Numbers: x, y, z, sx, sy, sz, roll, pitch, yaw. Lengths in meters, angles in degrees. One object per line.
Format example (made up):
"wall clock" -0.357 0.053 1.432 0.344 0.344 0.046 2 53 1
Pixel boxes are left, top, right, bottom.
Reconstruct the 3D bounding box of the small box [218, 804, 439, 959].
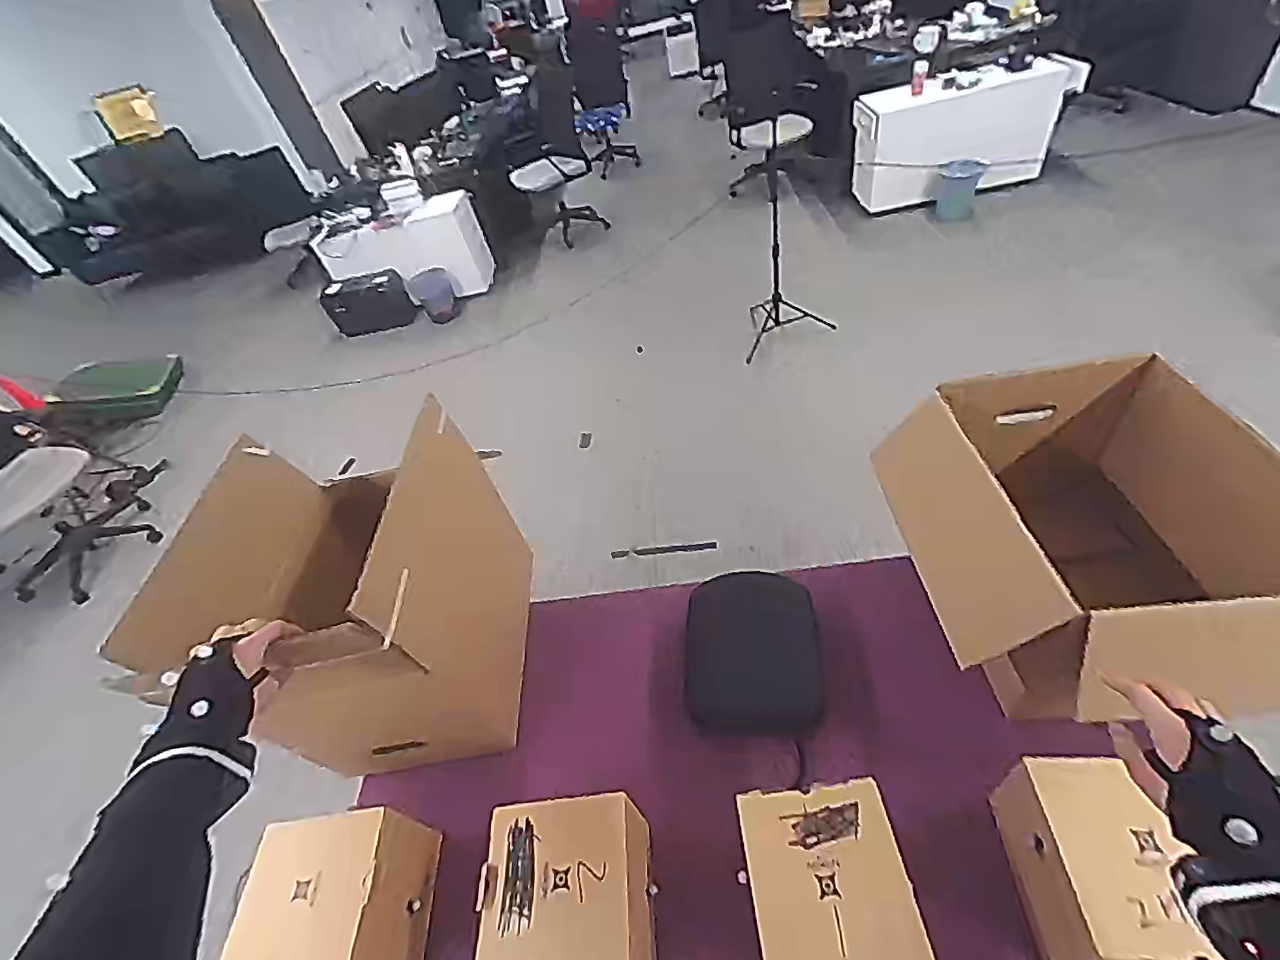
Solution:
"small box" -0.402 0.562 0.730 0.179 0.176 0.168 -10 45 4

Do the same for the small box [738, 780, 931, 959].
"small box" 0.213 0.478 0.635 0.168 0.176 0.179 -11 46 7

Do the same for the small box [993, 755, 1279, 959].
"small box" 0.521 0.425 0.595 0.168 0.176 0.179 -5 45 13
